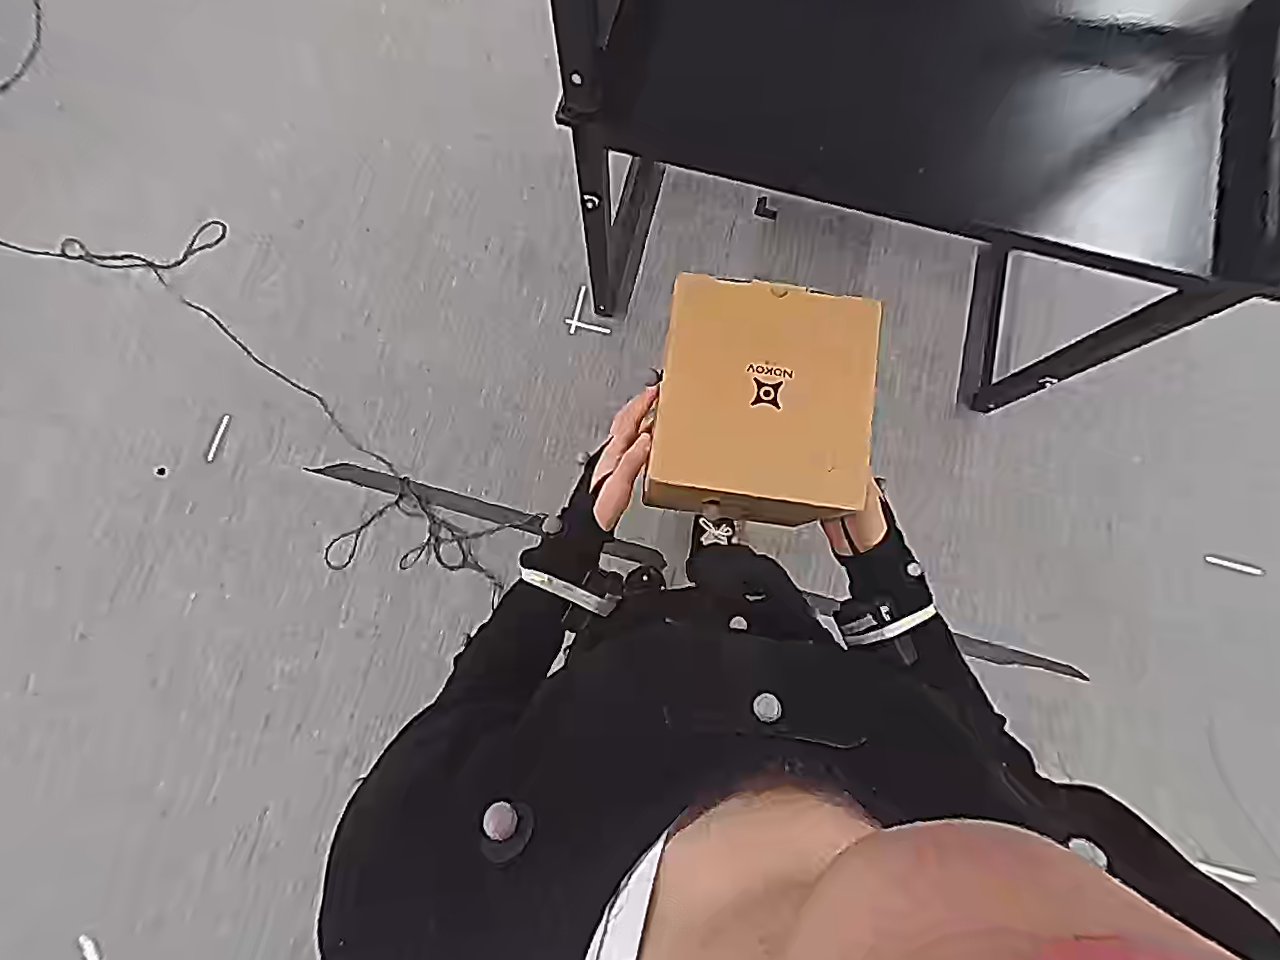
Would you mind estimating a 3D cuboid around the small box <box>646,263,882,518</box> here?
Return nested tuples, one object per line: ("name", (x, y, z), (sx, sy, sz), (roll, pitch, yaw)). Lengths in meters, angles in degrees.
("small box", (0.098, -0.065, 0.495), (0.168, 0.176, 0.179), (8, 80, 0))
